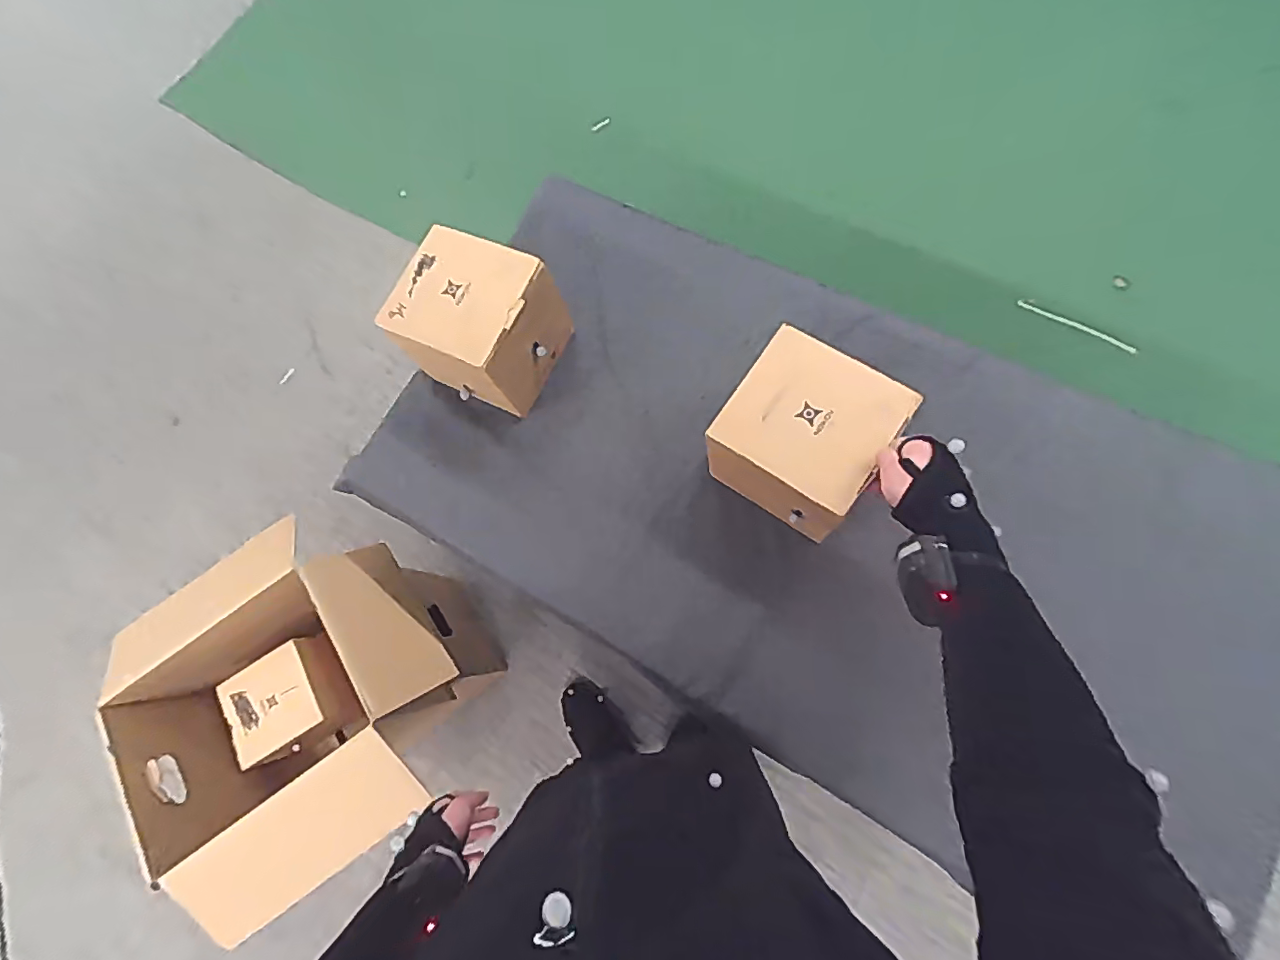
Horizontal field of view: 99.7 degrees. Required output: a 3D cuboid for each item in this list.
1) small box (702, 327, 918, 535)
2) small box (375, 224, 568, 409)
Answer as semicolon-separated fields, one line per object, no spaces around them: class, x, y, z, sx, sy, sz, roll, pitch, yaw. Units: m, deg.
small box;0.198;-0.048;0.667;0.179;0.176;0.168;33;81;18
small box;-0.224;-0.221;0.773;0.179;0.176;0.168;24;79;12
